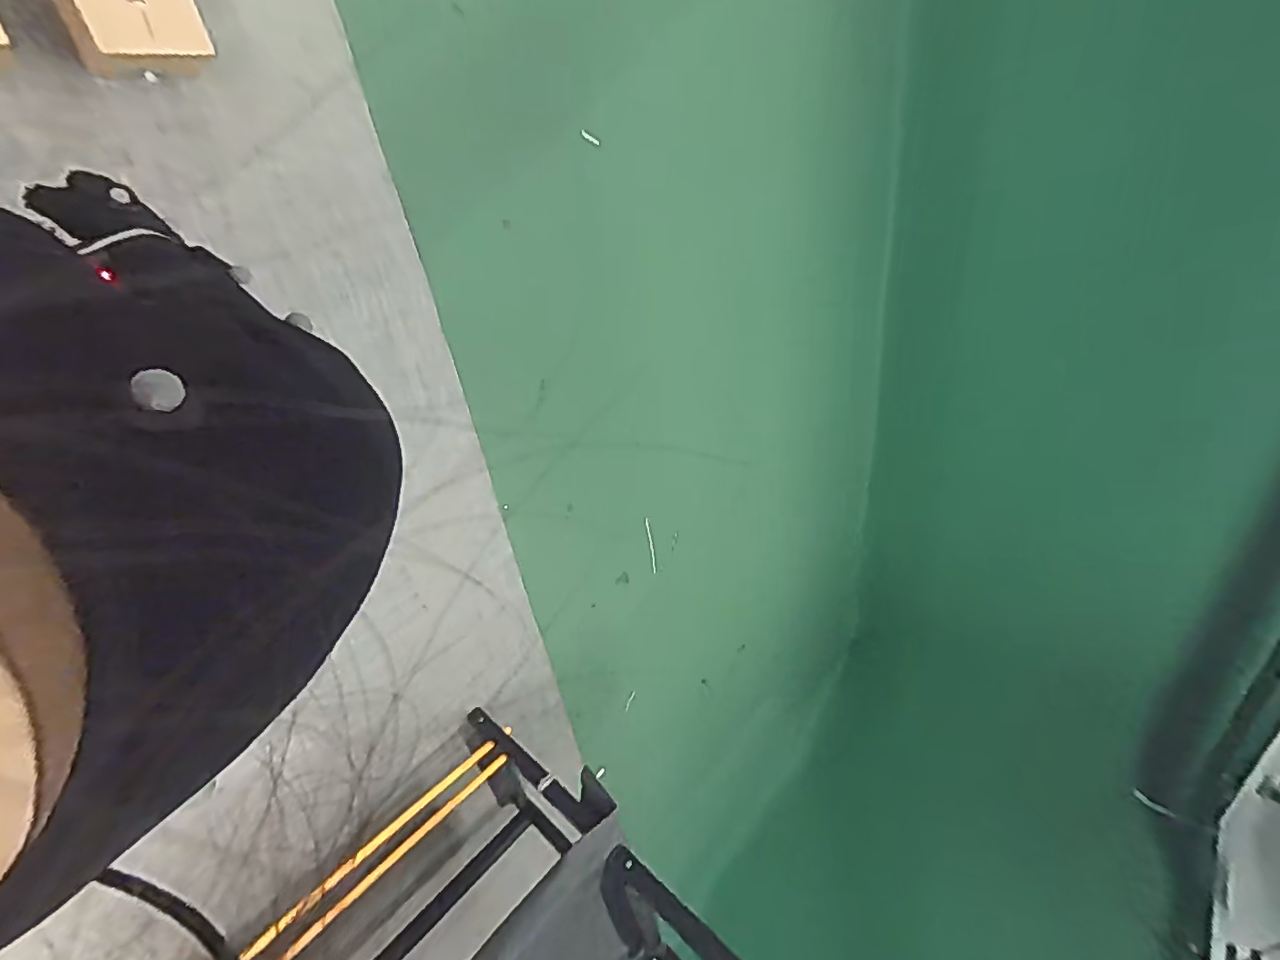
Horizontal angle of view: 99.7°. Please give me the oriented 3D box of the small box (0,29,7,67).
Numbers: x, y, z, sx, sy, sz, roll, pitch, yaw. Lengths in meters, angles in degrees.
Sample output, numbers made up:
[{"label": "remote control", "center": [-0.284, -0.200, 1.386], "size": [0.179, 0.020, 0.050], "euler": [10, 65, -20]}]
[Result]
[{"label": "small box", "center": [-1.052, -0.697, 0.756], "size": [0.168, 0.176, 0.179], "euler": [-35, 128, -36]}]

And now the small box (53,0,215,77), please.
[{"label": "small box", "center": [-0.874, -0.809, 0.915], "size": [0.168, 0.176, 0.179], "euler": [-35, 129, -36]}]
